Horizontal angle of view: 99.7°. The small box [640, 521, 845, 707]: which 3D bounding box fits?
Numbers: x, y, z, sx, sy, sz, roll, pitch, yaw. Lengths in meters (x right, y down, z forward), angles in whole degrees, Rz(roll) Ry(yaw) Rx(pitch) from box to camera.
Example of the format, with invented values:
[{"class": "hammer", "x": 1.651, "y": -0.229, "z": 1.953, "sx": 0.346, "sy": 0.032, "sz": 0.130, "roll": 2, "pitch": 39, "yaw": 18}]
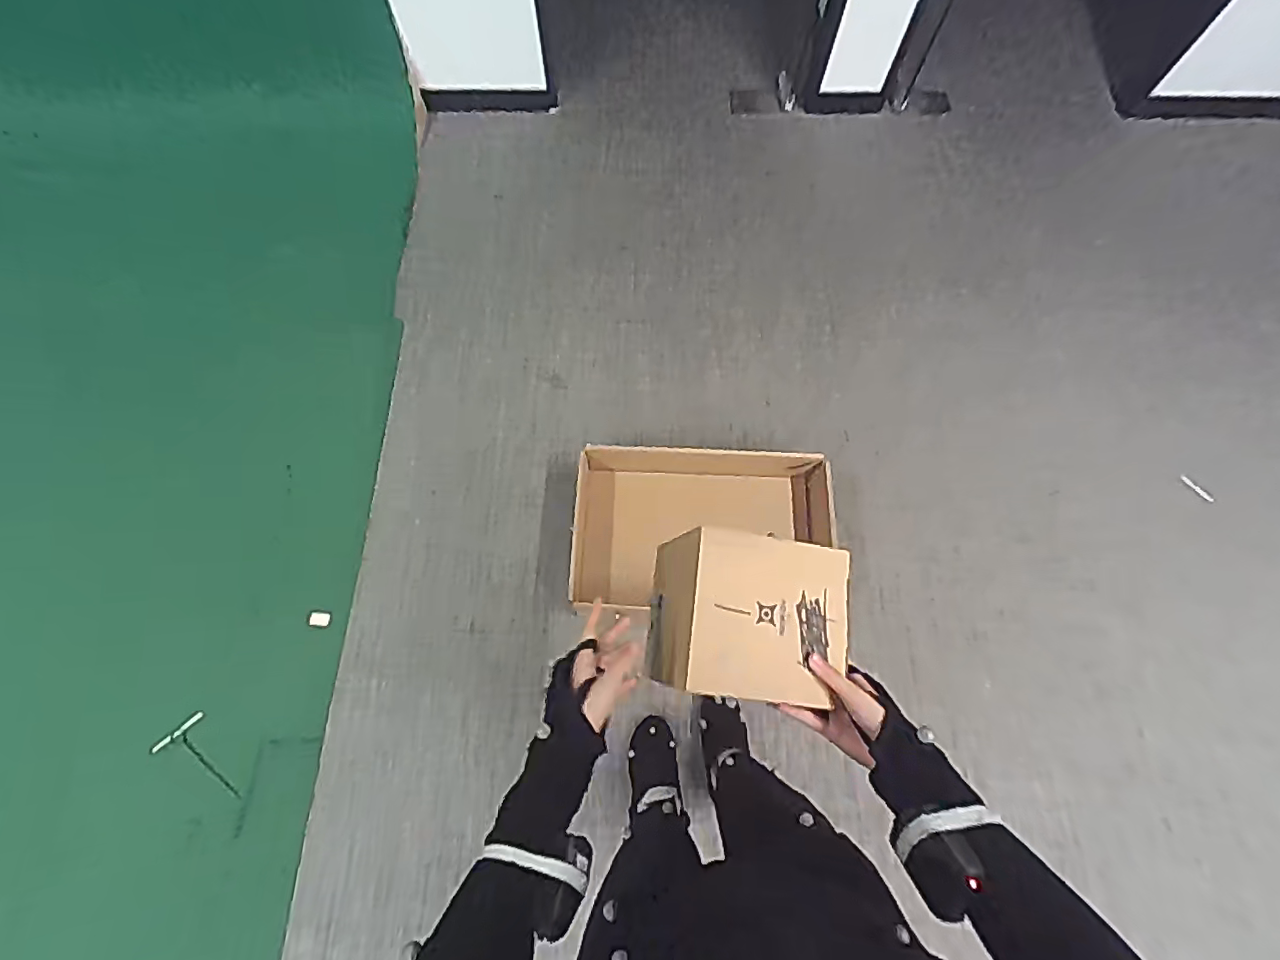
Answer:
[{"class": "small box", "x": 0.112, "y": 0.155, "z": 0.629, "sx": 0.179, "sy": 0.176, "sz": 0.168, "roll": 12, "pitch": 73, "yaw": -10}]
